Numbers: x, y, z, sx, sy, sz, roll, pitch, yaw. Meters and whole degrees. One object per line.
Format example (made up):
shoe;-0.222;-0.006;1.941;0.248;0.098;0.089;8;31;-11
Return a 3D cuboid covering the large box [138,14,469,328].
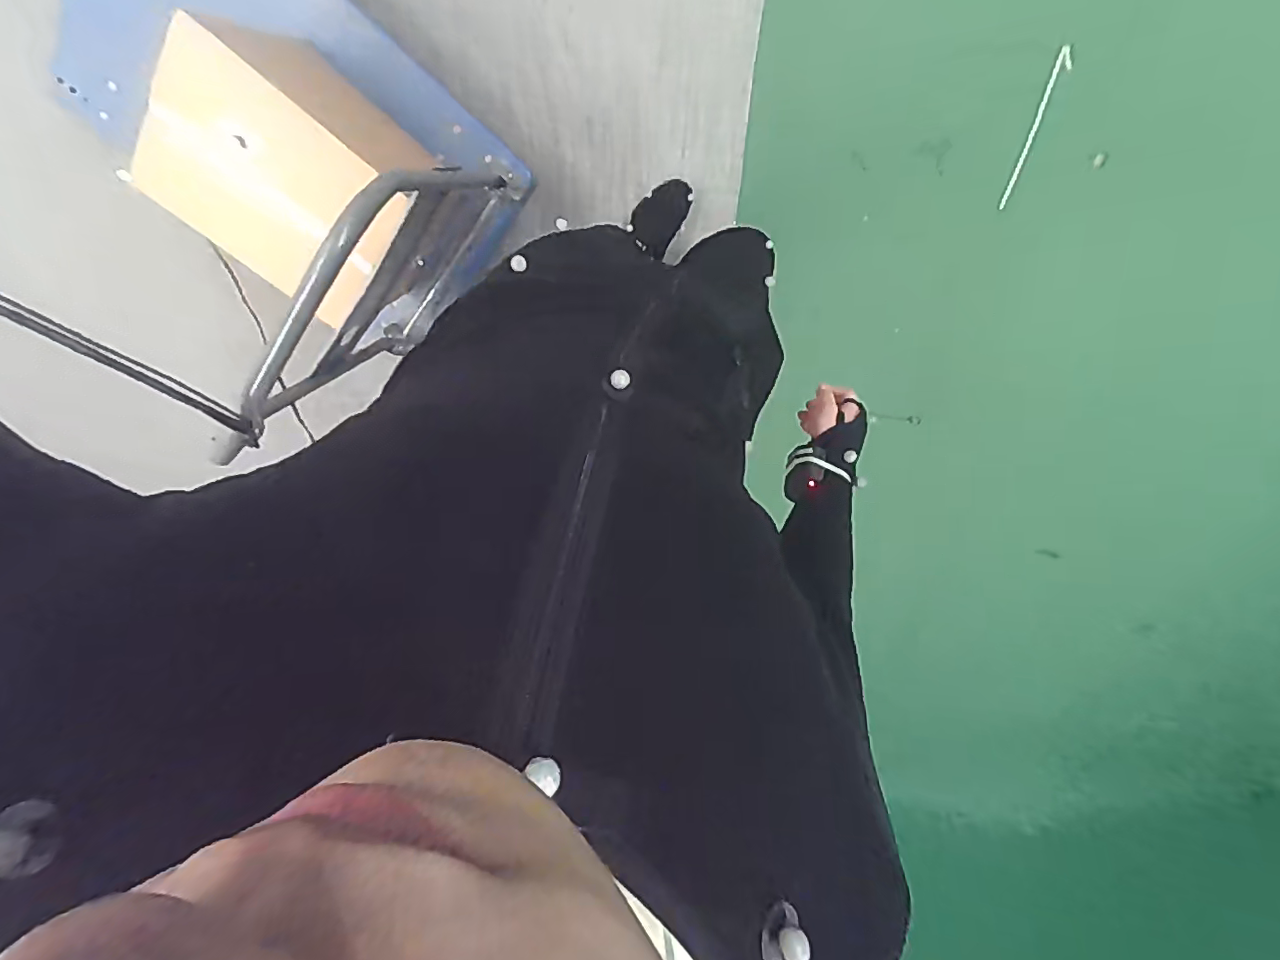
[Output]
large box;-0.626;-0.582;1.067;0.408;0.320;0.320;38;117;-18
